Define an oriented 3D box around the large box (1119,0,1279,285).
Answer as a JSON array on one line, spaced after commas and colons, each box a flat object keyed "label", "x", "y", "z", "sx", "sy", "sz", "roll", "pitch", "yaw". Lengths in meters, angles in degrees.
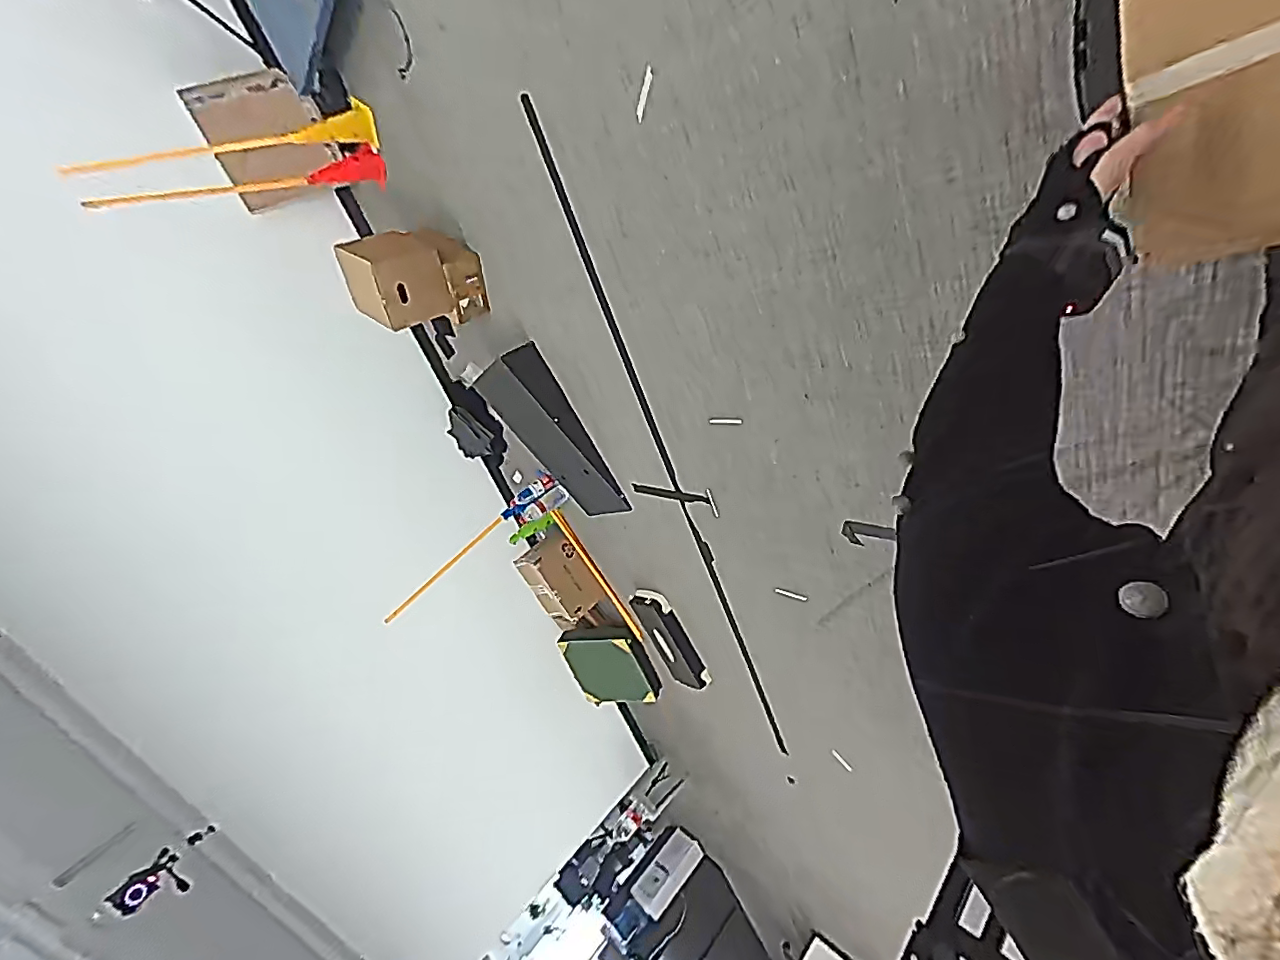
[{"label": "large box", "x": 0.659, "y": -0.386, "z": 0.404, "sx": 0.408, "sy": 0.320, "sz": 0.320, "roll": 3, "pitch": 117, "yaw": 51}]
